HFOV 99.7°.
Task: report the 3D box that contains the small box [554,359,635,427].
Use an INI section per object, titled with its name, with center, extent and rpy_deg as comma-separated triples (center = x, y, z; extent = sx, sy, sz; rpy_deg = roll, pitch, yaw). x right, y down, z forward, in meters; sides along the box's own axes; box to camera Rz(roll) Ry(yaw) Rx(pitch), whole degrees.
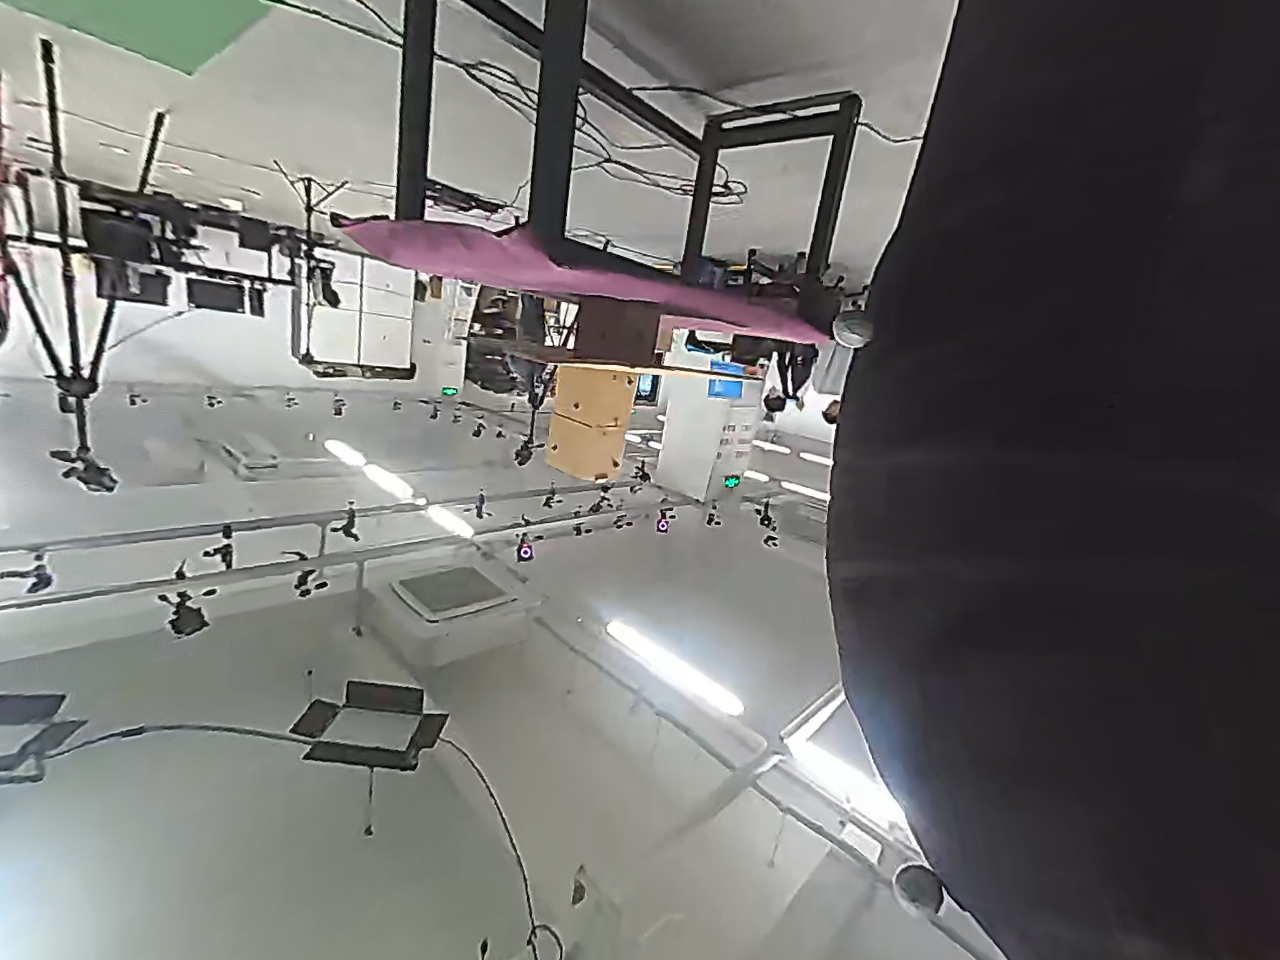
[small box]
center = -0.132, -0.263, 1.619
extent = 0.179, 0.176, 0.168
rpy_deg = 23, -161, 36
